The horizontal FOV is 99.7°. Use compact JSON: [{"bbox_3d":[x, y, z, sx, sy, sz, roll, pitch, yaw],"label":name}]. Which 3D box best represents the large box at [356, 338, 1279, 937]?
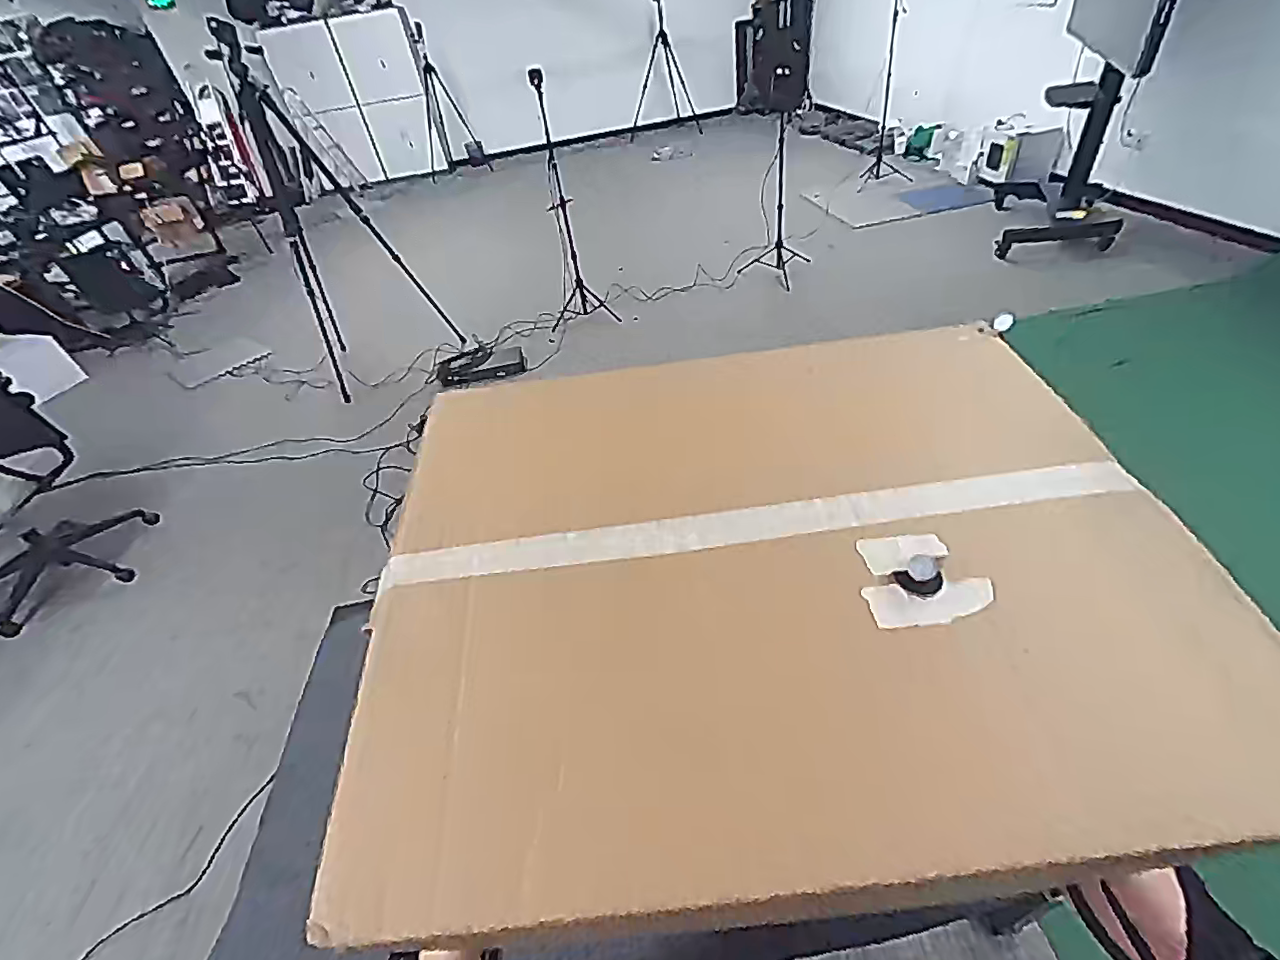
[{"bbox_3d":[0.077,0.130,0.424,0.408,0.320,0.320,-8,50,0],"label":"large box"}]
